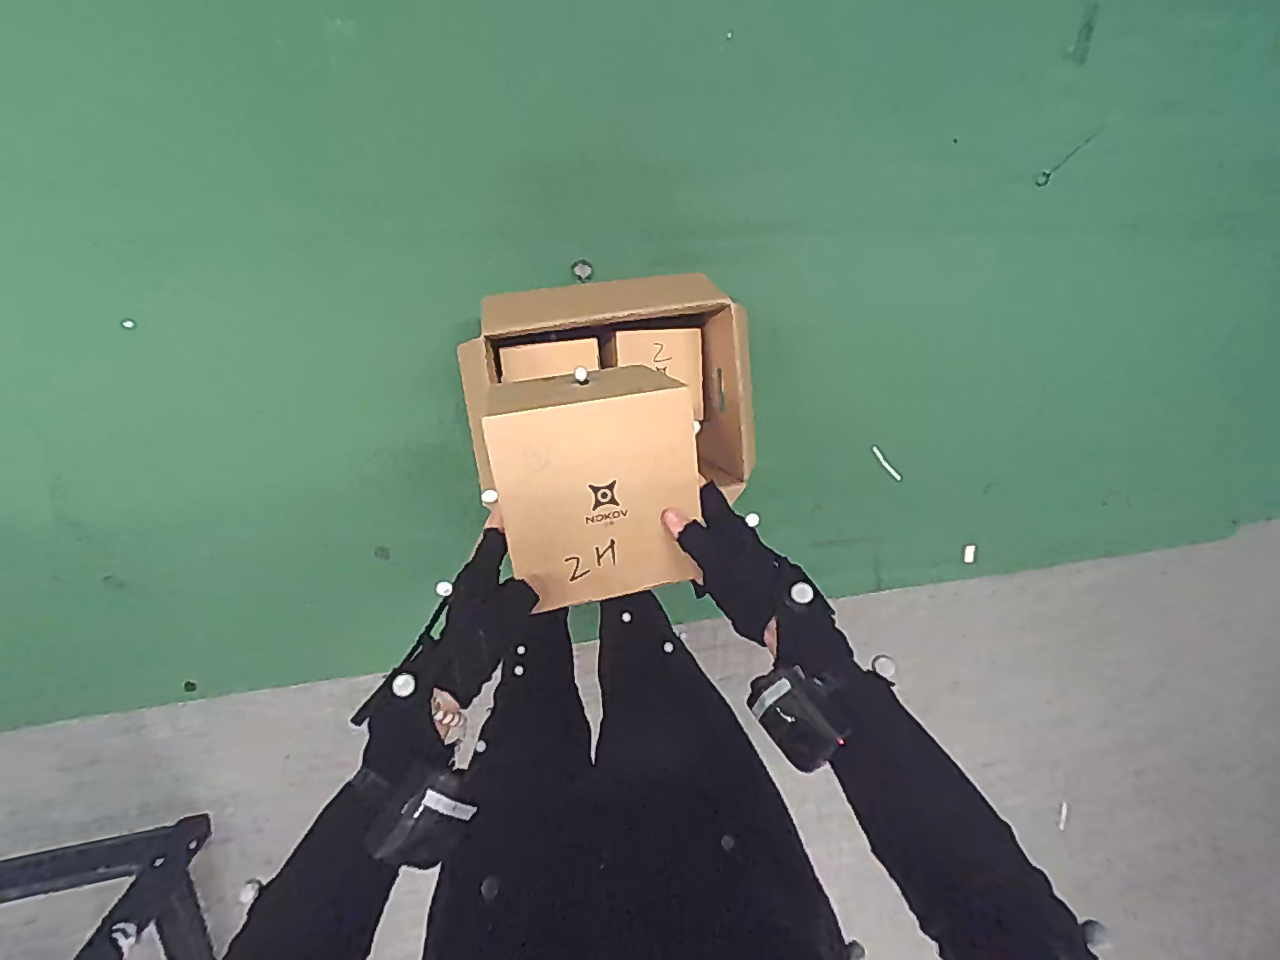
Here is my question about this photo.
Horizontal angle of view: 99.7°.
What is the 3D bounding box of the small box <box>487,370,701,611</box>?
[{"bbox_3d":[-0.050,-0.006,0.520,0.168,0.176,0.179,-10,111,-11],"label":"small box"}]
